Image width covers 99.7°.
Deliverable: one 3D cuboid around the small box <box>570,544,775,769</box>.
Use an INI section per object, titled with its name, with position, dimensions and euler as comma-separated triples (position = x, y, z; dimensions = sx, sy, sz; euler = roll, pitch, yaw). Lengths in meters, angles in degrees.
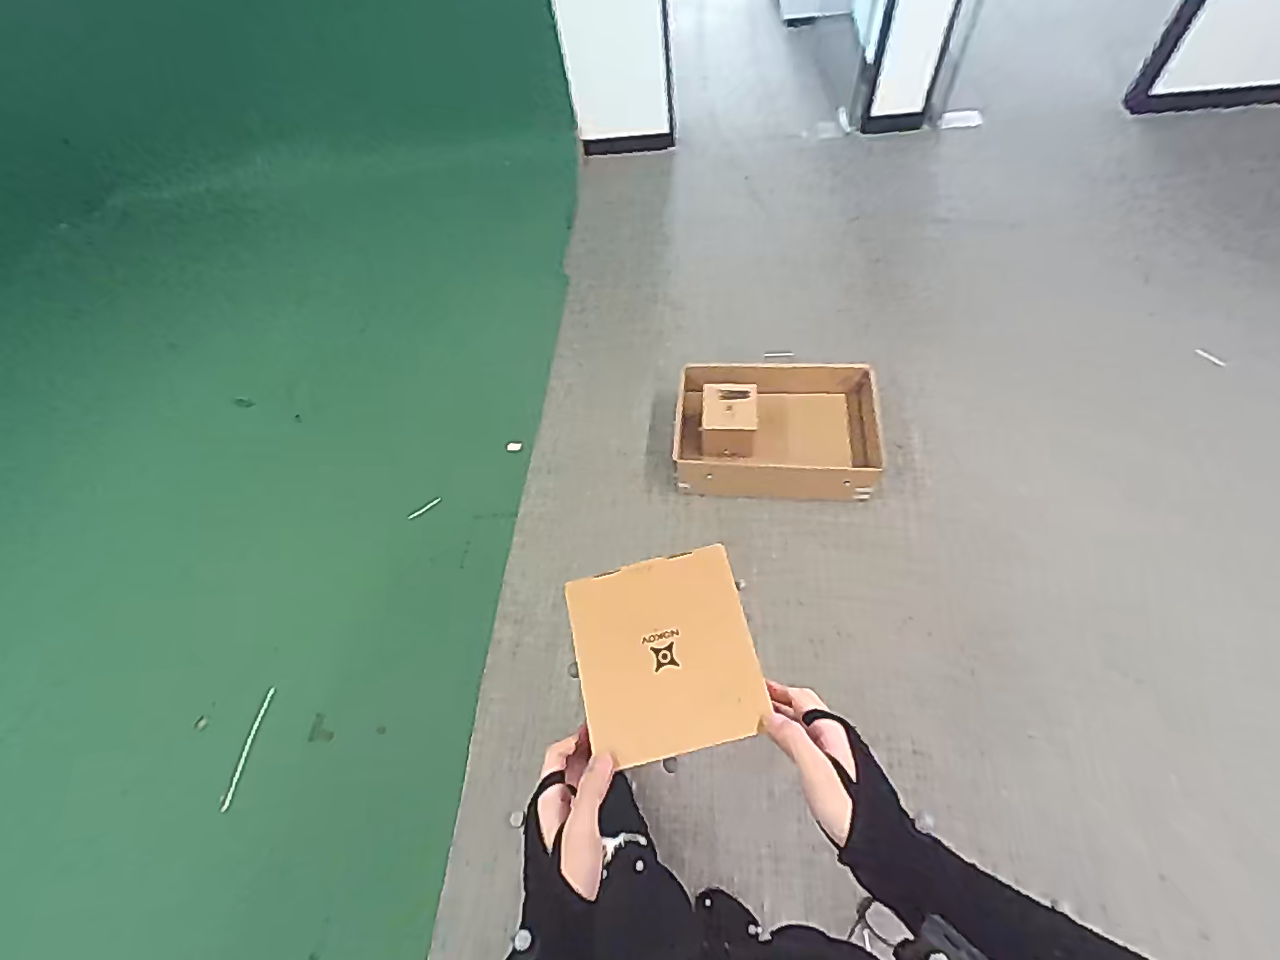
[small box]
position = 0.035, 0.190, 0.578
dimensions = 0.168, 0.176, 0.179
euler = -14, 64, 1
